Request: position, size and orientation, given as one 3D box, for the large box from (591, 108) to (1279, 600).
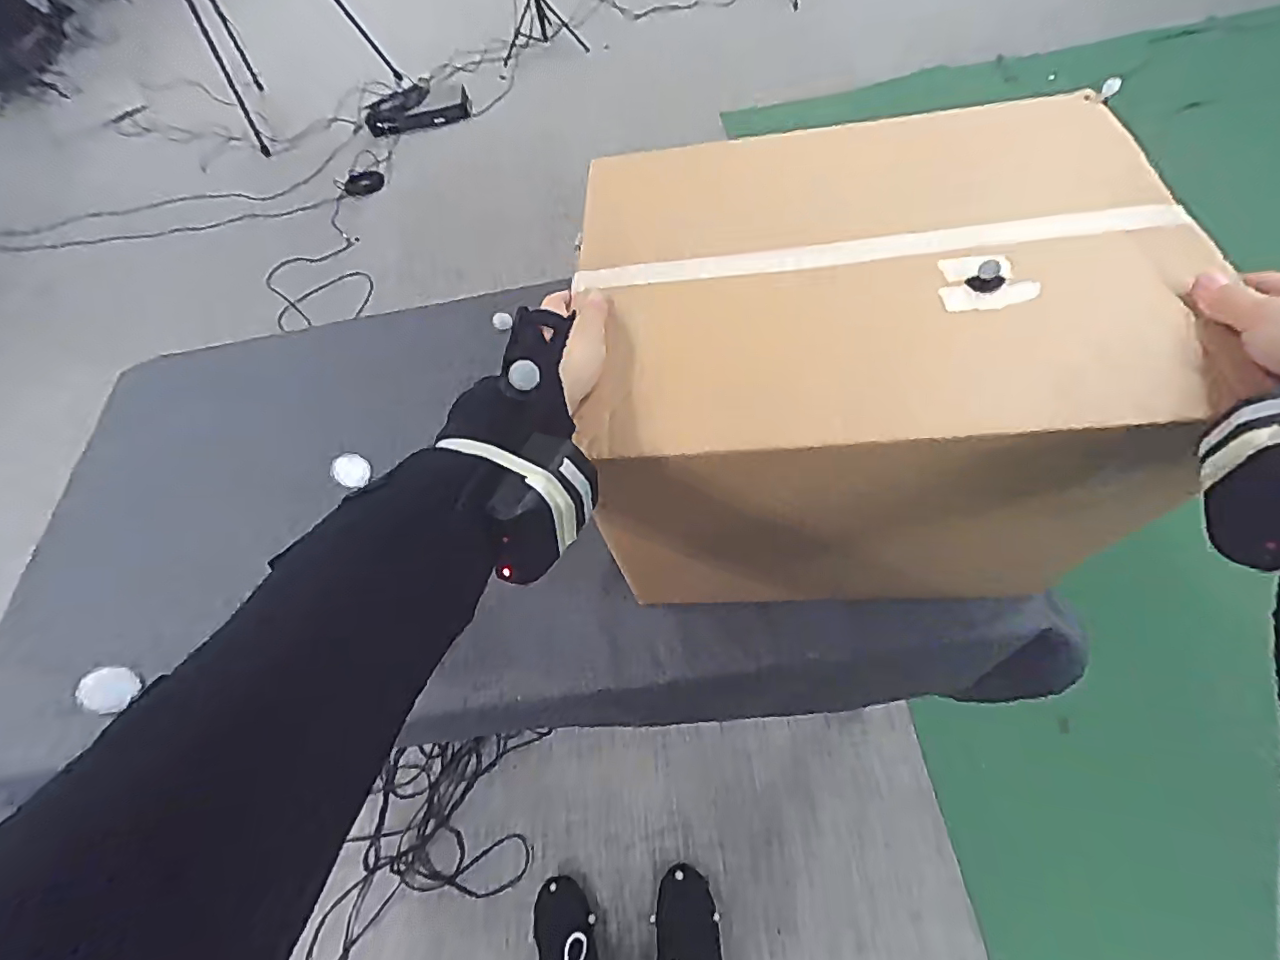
[{"bbox_3d":[0.181,-0.085,0.513,0.408,0.320,0.320,-3,62,6],"label":"large box"}]
